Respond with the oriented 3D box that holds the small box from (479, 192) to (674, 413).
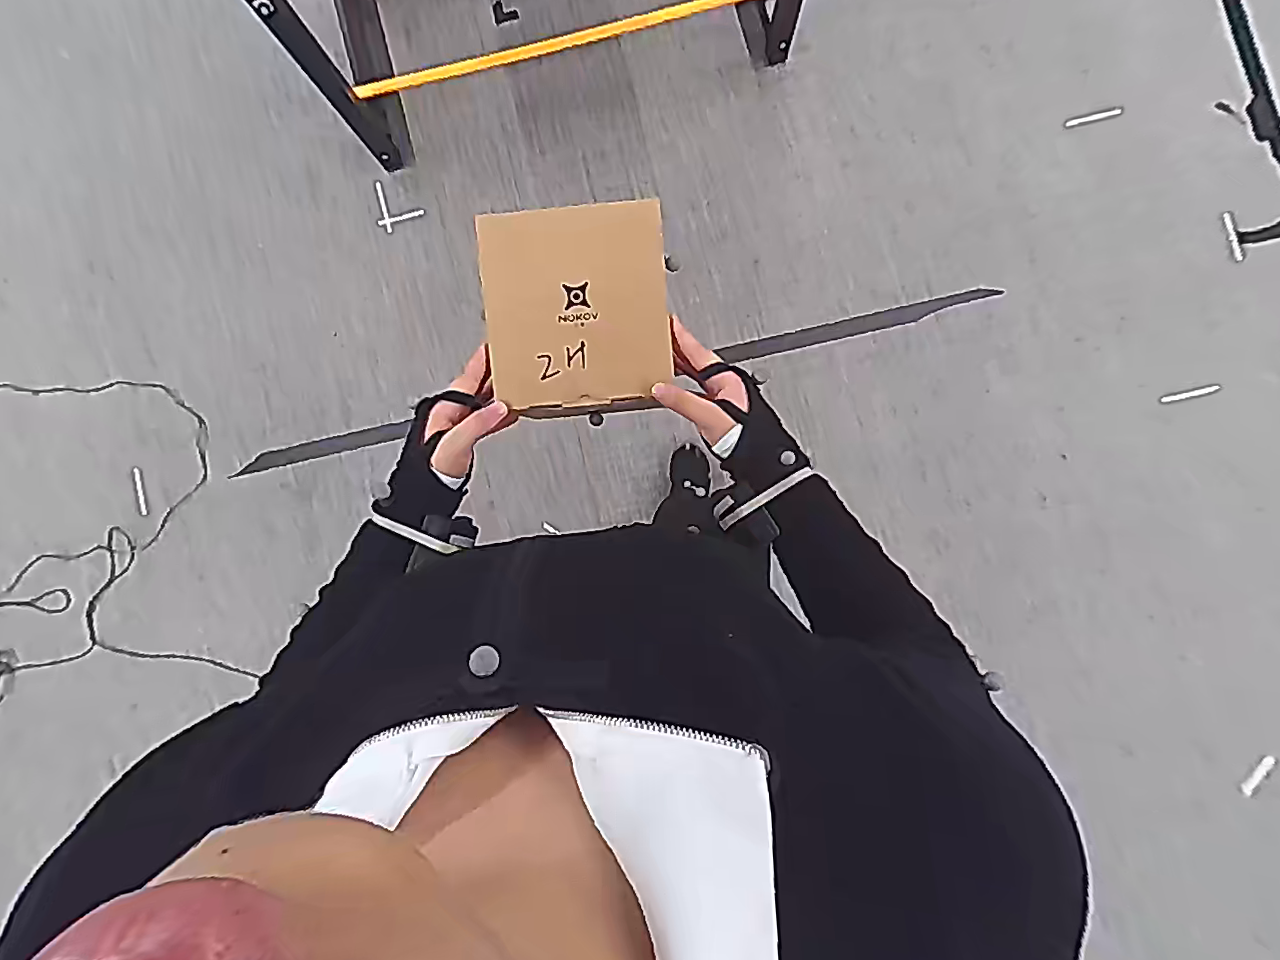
[{"bbox_3d":[-0.056,-0.167,0.562,0.168,0.176,0.179,-5,94,1],"label":"small box"}]
